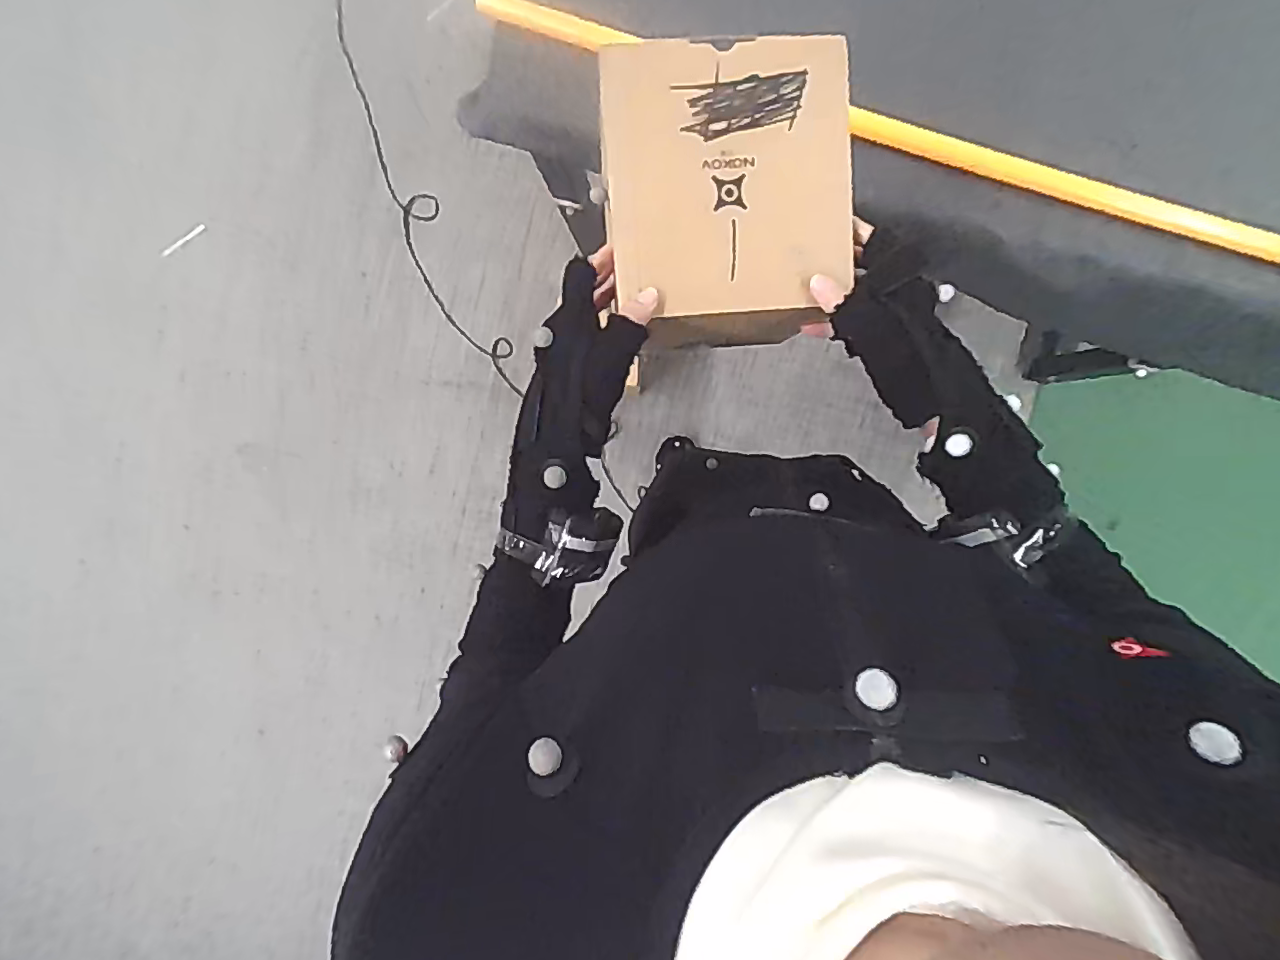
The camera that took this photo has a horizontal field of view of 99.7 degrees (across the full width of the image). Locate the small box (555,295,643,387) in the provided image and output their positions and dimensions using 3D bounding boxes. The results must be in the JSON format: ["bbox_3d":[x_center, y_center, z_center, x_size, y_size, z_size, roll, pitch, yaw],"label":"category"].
[{"bbox_3d":[-0.082,-0.290,1.158,0.168,0.176,0.179,0,96,5],"label":"small box"}]

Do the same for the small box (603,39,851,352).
[{"bbox_3d":[0.056,-0.209,0.442,0.168,0.176,0.179,-4,96,-2],"label":"small box"}]
